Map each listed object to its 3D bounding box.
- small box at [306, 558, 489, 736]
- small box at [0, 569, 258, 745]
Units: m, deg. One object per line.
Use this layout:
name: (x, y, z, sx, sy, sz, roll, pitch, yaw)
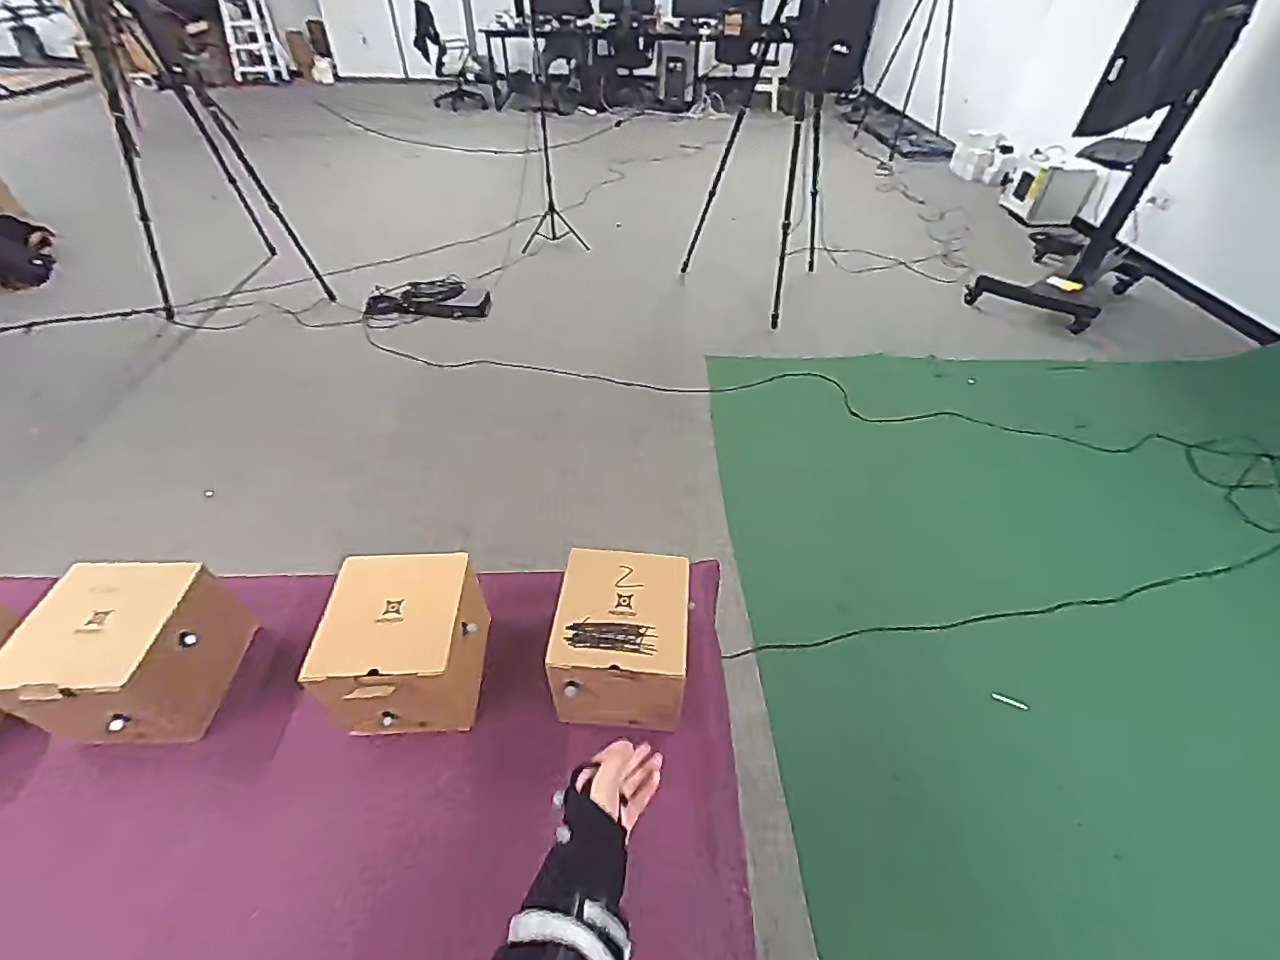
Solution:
small box: (-0.309, 0.226, 0.736, 0.168, 0.176, 0.179, -2, 46, -3)
small box: (-0.657, 0.238, 0.719, 0.168, 0.176, 0.179, 0, 45, -2)
